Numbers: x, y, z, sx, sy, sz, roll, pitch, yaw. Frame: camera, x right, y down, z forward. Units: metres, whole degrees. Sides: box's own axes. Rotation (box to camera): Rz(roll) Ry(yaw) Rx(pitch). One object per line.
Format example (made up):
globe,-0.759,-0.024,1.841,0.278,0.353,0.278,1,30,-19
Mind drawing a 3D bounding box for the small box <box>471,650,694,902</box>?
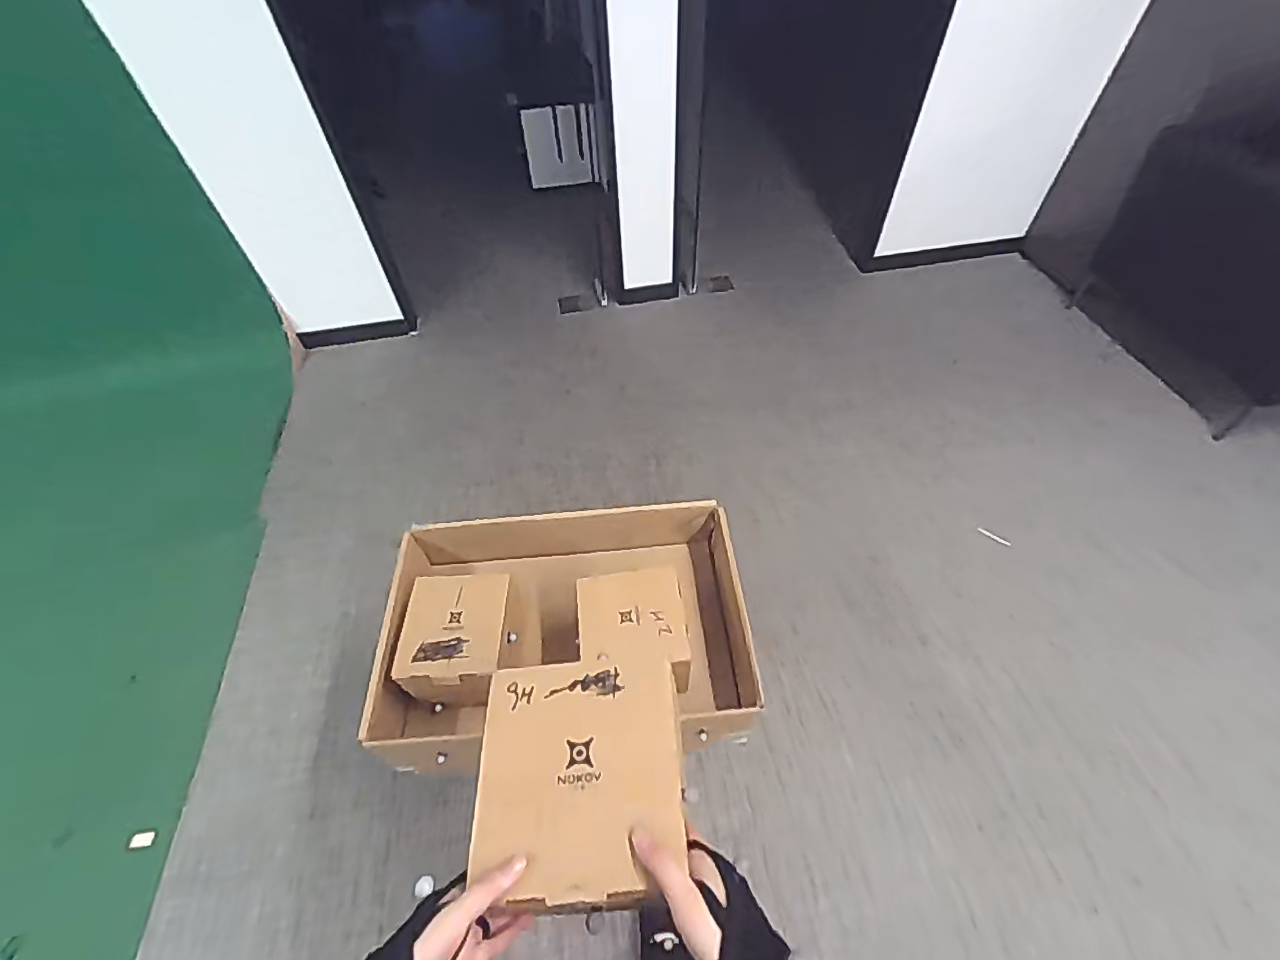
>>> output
small box,-0.041,0.281,0.506,0.168,0.176,0.179,-6,50,2
